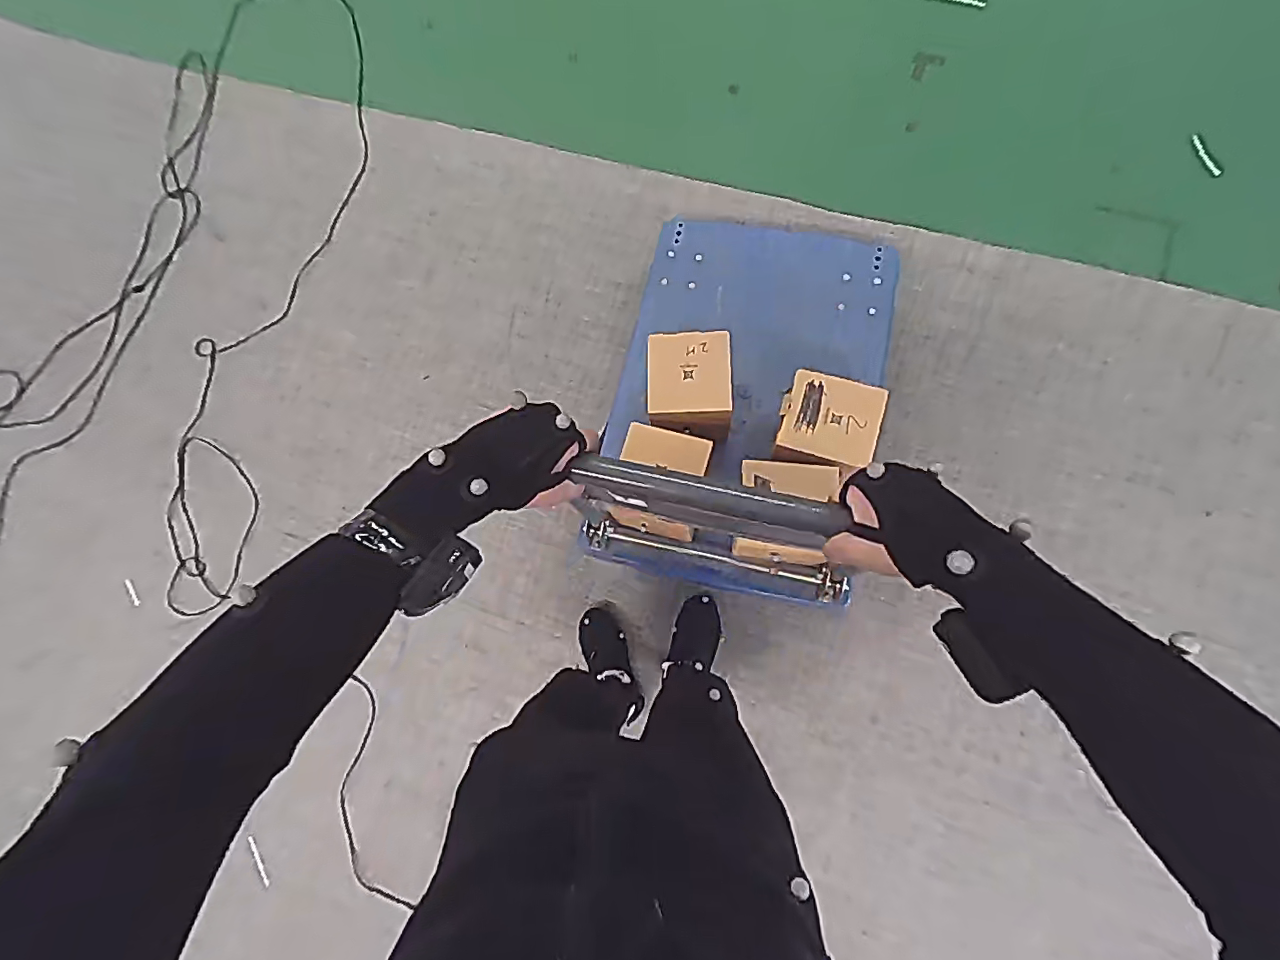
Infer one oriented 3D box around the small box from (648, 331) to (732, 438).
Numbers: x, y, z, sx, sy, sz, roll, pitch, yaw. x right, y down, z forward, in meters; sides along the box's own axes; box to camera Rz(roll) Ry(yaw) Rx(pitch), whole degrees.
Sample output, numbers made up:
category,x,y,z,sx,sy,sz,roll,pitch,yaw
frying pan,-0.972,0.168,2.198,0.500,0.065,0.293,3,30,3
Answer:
category,x,y,z,sx,sy,sz,roll,pitch,yaw
small box,0.107,-0.192,1.140,0.168,0.176,0.179,-1,74,6
